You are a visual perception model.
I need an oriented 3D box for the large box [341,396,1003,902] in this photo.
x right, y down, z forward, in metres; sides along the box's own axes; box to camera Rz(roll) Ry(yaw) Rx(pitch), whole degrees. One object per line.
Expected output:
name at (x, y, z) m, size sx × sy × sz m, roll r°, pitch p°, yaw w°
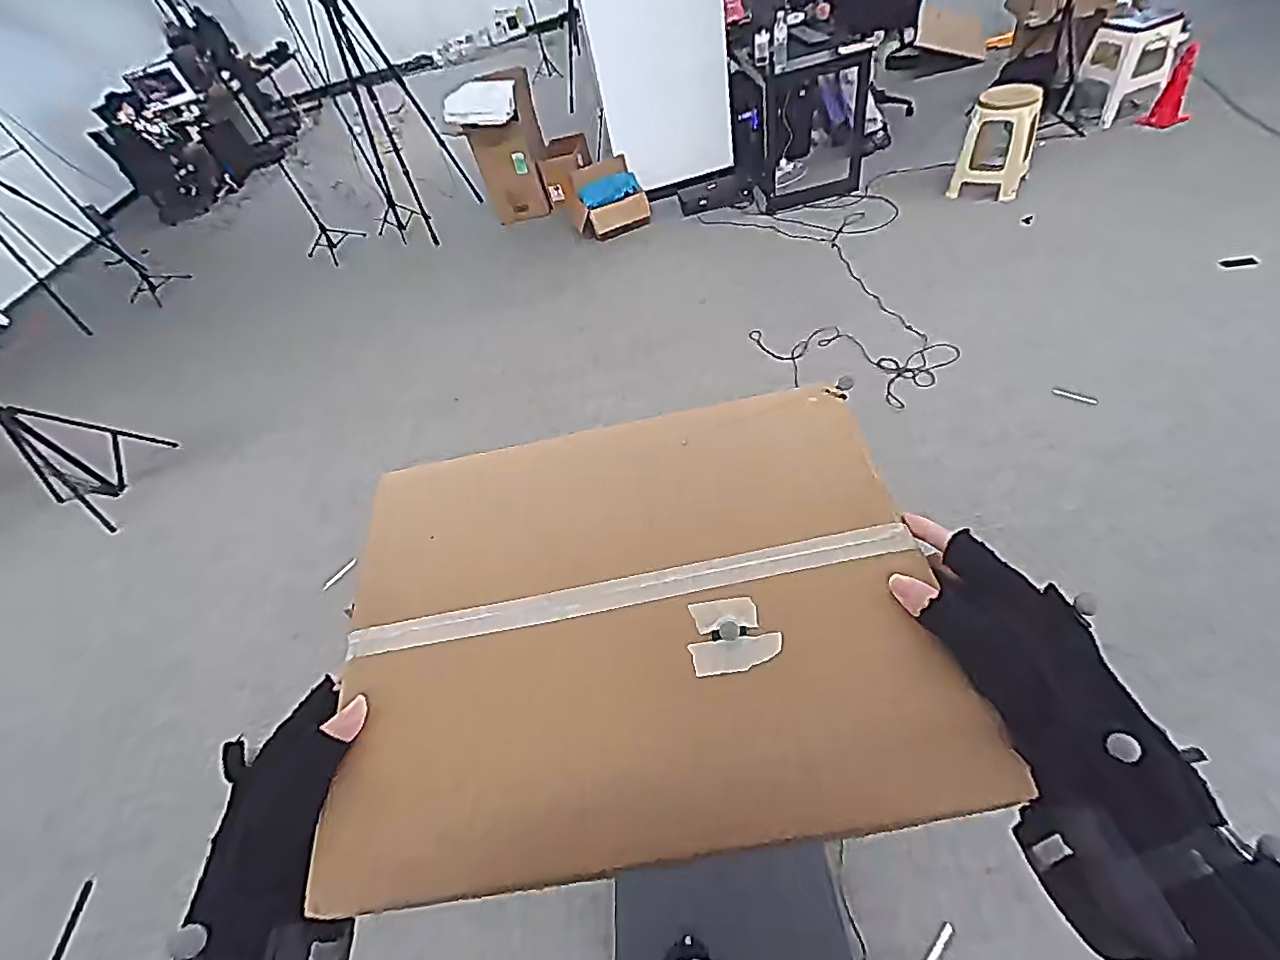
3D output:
large box at (0.015, 0.171, 0.519) m, size 0.408 × 0.320 × 0.320 m, roll -11°, pitch 55°, yaw 3°
